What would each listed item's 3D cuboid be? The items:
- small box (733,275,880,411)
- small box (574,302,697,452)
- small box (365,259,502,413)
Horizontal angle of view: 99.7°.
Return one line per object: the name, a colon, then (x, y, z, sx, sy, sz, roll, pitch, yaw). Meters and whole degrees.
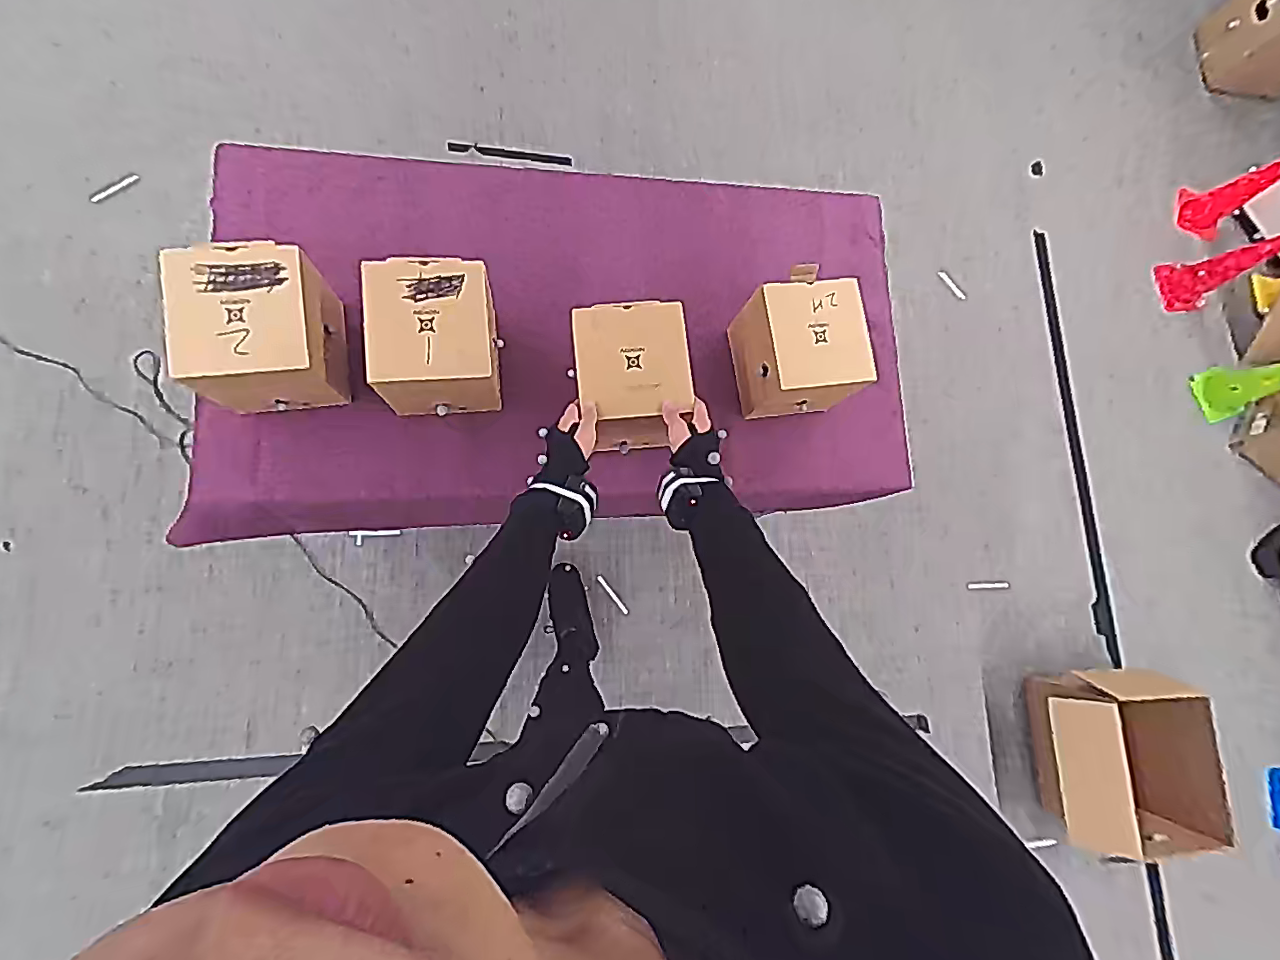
small box: (0.270, -0.221, 0.915, 0.168, 0.176, 0.179, -7, 82, -10)
small box: (-0.015, -0.154, 0.845, 0.168, 0.176, 0.179, -5, 78, -5)
small box: (-0.304, -0.211, 0.821, 0.168, 0.176, 0.179, -5, 83, -10)
